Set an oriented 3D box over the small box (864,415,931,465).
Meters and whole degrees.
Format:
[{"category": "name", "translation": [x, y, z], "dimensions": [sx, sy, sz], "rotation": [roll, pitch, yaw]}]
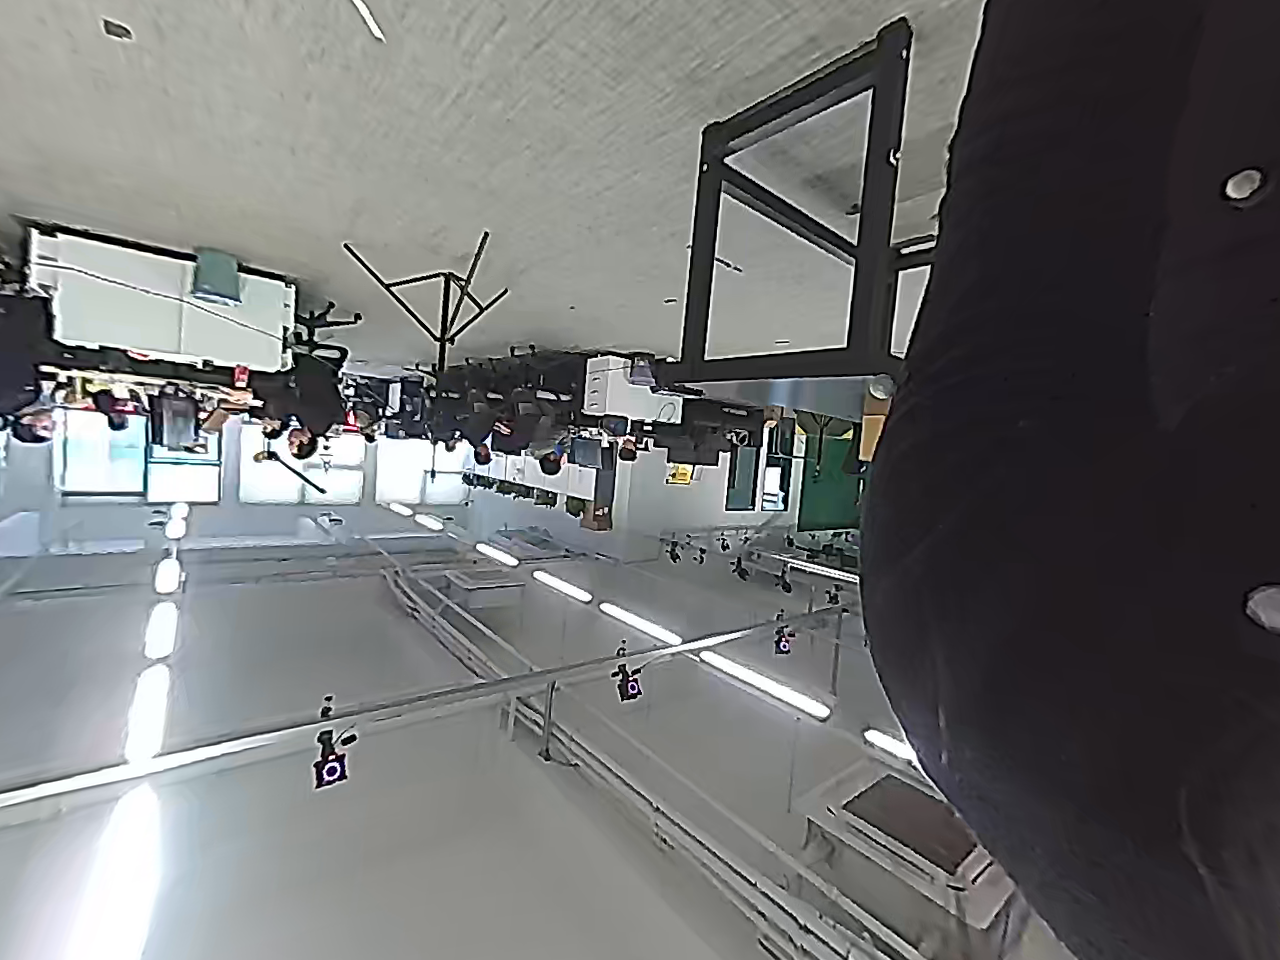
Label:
[{"category": "small box", "translation": [0.944, -0.147, 1.972], "dimensions": [0.168, 0.176, 0.179], "rotation": [3, -176, -43]}]
